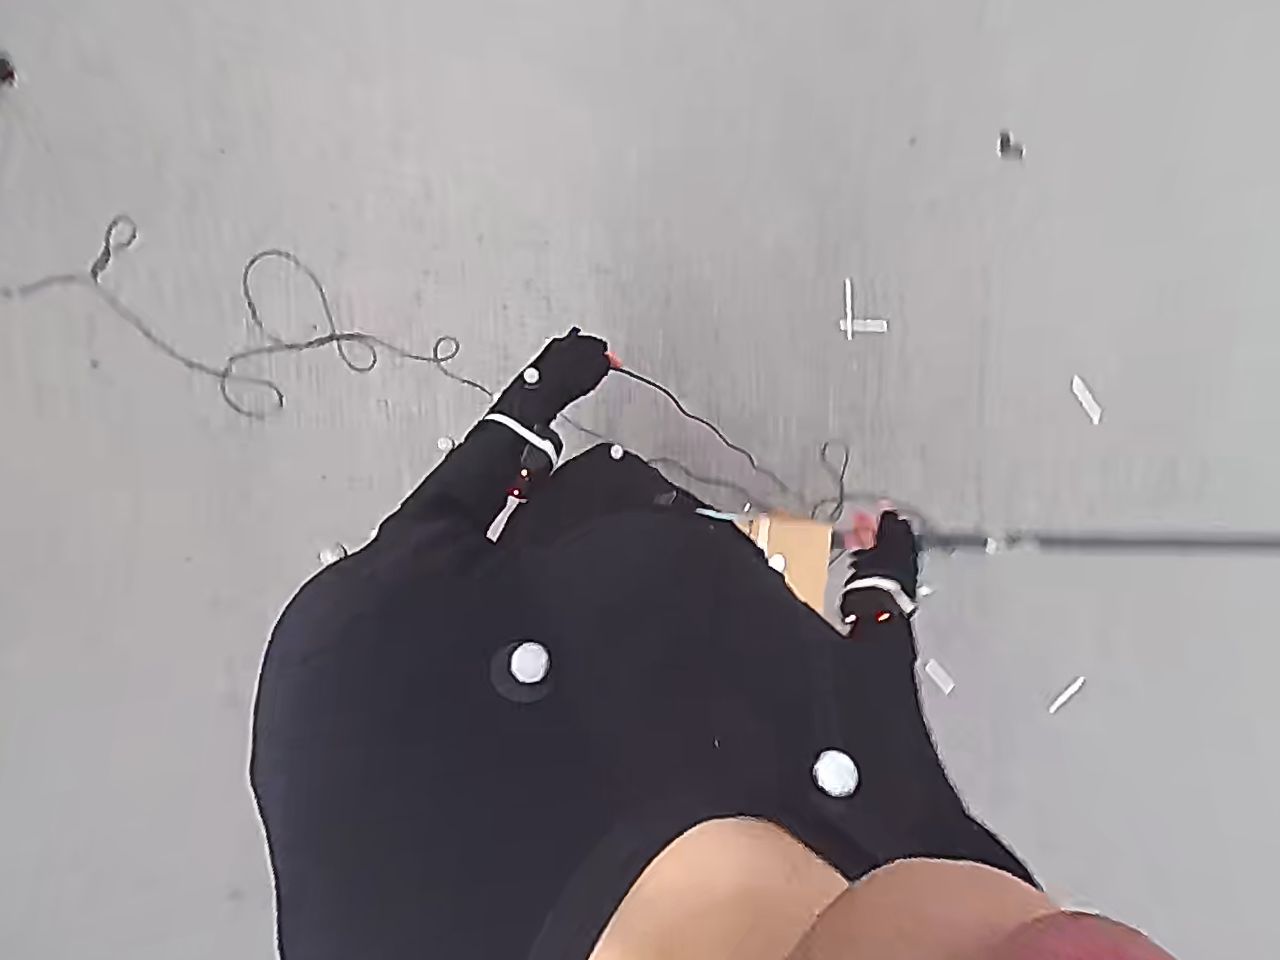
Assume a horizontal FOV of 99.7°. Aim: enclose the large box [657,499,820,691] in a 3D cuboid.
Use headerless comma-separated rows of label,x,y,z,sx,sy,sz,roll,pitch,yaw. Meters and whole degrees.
large box,0.229,0.267,1.371,0.320,0.320,0.408,6,92,-5
